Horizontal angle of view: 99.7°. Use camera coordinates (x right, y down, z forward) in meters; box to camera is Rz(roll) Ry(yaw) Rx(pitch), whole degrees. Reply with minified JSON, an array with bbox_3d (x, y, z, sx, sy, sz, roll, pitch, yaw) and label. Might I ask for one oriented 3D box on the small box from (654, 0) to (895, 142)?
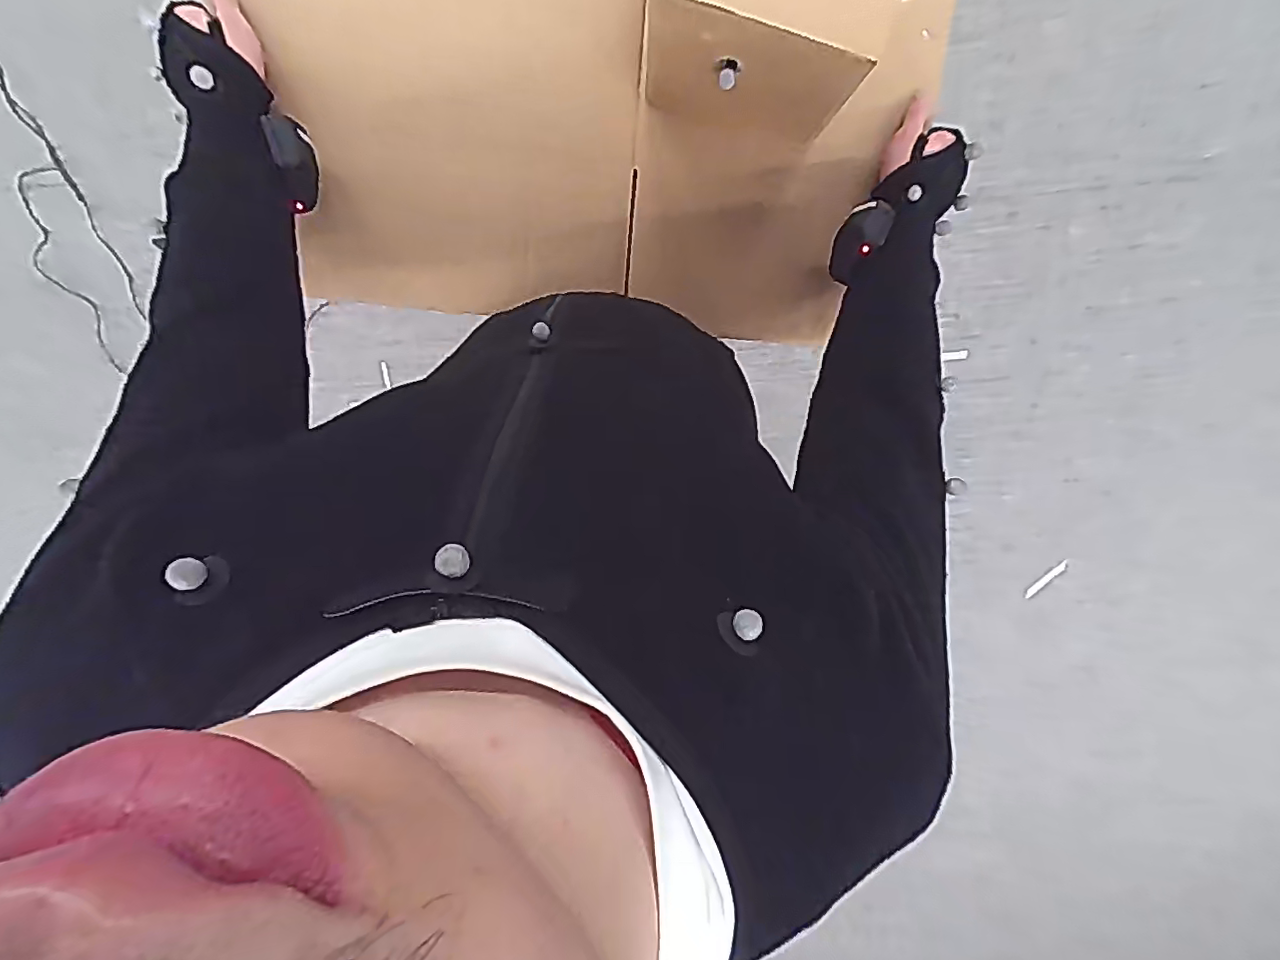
[{"bbox_3d":[0.114,-0.422,0.459,0.179,0.176,0.168,15,102,-3],"label":"small box"}]
